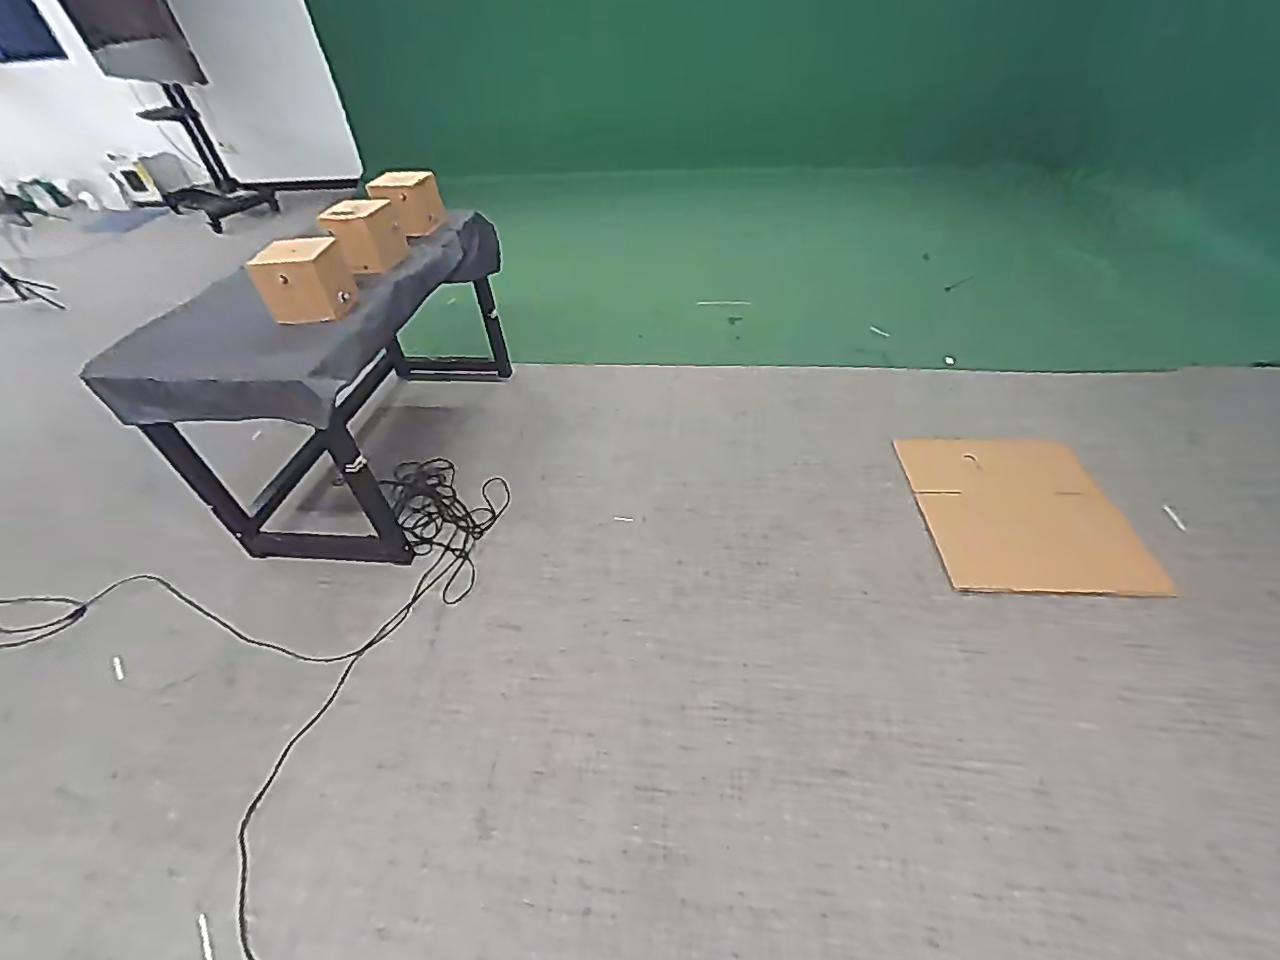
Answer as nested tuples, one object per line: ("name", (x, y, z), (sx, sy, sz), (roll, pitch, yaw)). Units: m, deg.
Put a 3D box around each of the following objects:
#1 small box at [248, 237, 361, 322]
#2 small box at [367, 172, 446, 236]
("small box", (-0.904, -0.543, 1.475), (0.179, 0.176, 0.168), (-3, 44, 1))
("small box", (-0.833, -0.991, 1.942), (0.179, 0.176, 0.168), (5, 44, 10))
